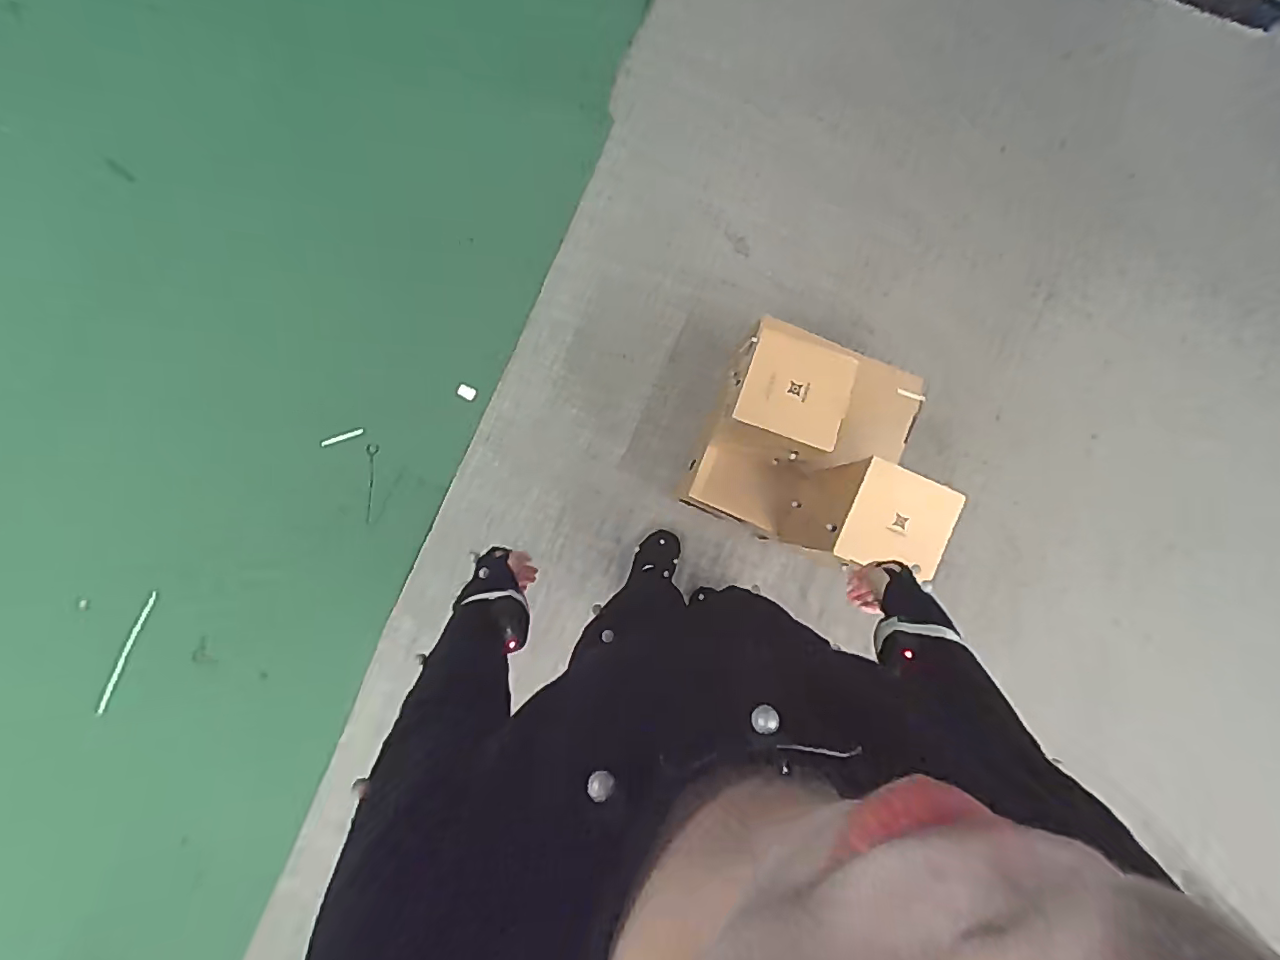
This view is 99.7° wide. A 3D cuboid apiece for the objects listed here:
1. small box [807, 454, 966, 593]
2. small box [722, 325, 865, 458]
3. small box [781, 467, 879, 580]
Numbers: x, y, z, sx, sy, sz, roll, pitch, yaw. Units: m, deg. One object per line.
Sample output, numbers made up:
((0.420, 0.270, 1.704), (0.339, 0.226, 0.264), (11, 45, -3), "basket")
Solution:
((0.416, 0.072, 0.945), (0.168, 0.176, 0.179), (25, 88, 1), "small box")
((0.262, -0.146, 0.965), (0.179, 0.176, 0.168), (21, 85, 3), "small box")
((0.416, 0.086, 1.108), (0.179, 0.176, 0.168), (25, 86, 2), "small box")
